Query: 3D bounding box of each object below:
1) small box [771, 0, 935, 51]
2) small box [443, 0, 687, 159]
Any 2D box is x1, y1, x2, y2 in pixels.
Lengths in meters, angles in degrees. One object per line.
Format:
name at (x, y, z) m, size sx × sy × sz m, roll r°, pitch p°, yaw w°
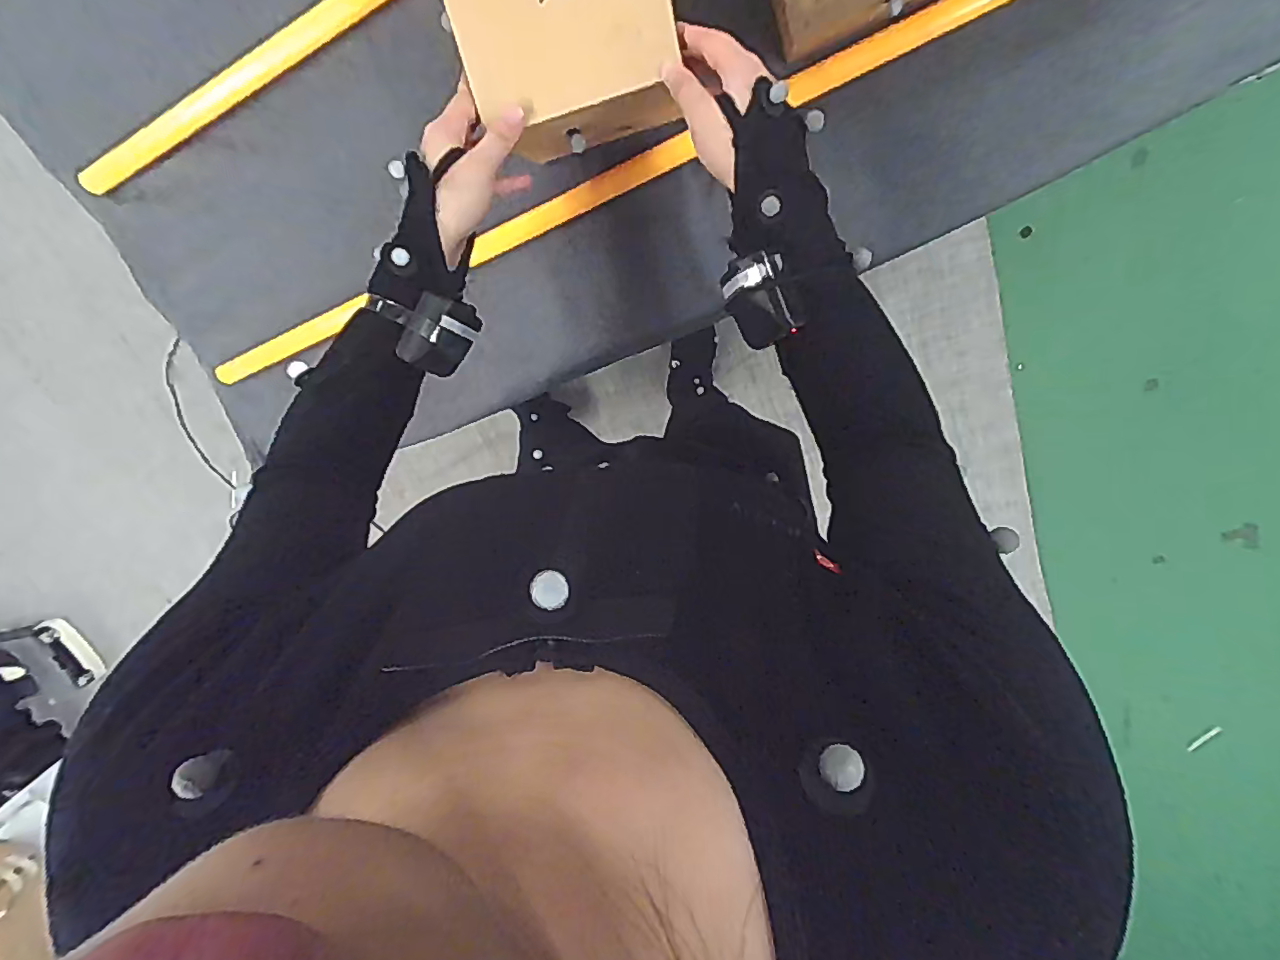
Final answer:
small box at (0.177, -0.459, 0.400) m, size 0.168 × 0.176 × 0.179 m, roll -15°, pitch 112°, yaw 16°
small box at (-0.057, -0.396, 0.463) m, size 0.168 × 0.176 × 0.179 m, roll -12°, pitch 112°, yaw 11°
